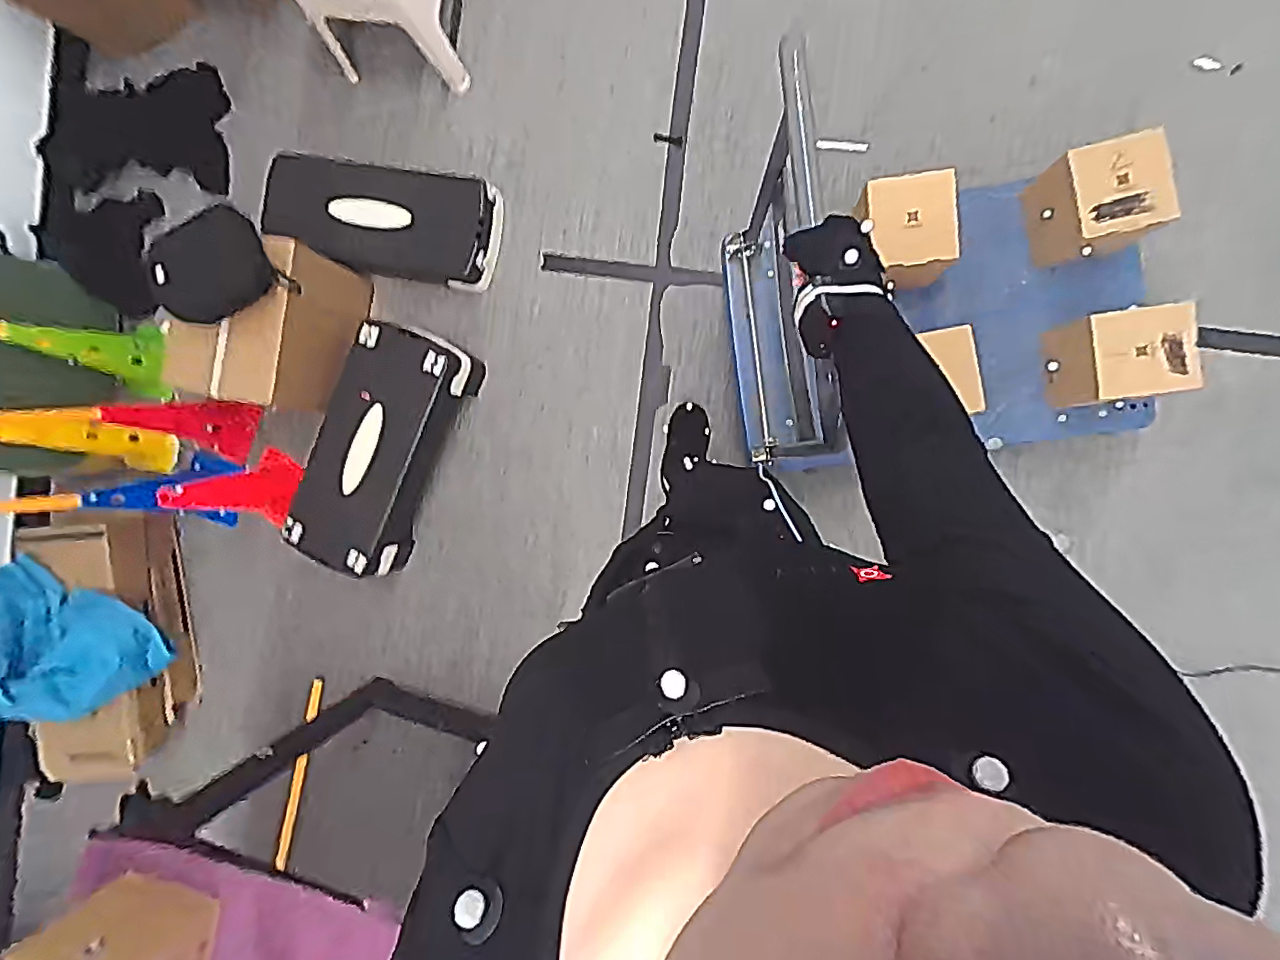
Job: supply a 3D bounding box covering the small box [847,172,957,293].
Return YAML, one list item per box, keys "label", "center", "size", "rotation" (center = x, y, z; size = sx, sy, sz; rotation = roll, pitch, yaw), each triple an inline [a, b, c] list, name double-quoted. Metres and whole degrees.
- label: "small box"
  center: [0.546, -0.515, 1.148]
  size: [0.168, 0.176, 0.179]
  rotation: [-4, 92, 7]

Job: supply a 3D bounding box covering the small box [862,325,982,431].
- label: "small box"
  center: [0.588, -0.208, 1.148]
  size: [0.168, 0.176, 0.179]
  rotation: [-9, 90, 8]

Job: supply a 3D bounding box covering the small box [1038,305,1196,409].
- label: "small box"
  center: [0.957, -0.241, 1.098]
  size: [0.179, 0.176, 0.168]
  rotation: [-6, 90, 9]
